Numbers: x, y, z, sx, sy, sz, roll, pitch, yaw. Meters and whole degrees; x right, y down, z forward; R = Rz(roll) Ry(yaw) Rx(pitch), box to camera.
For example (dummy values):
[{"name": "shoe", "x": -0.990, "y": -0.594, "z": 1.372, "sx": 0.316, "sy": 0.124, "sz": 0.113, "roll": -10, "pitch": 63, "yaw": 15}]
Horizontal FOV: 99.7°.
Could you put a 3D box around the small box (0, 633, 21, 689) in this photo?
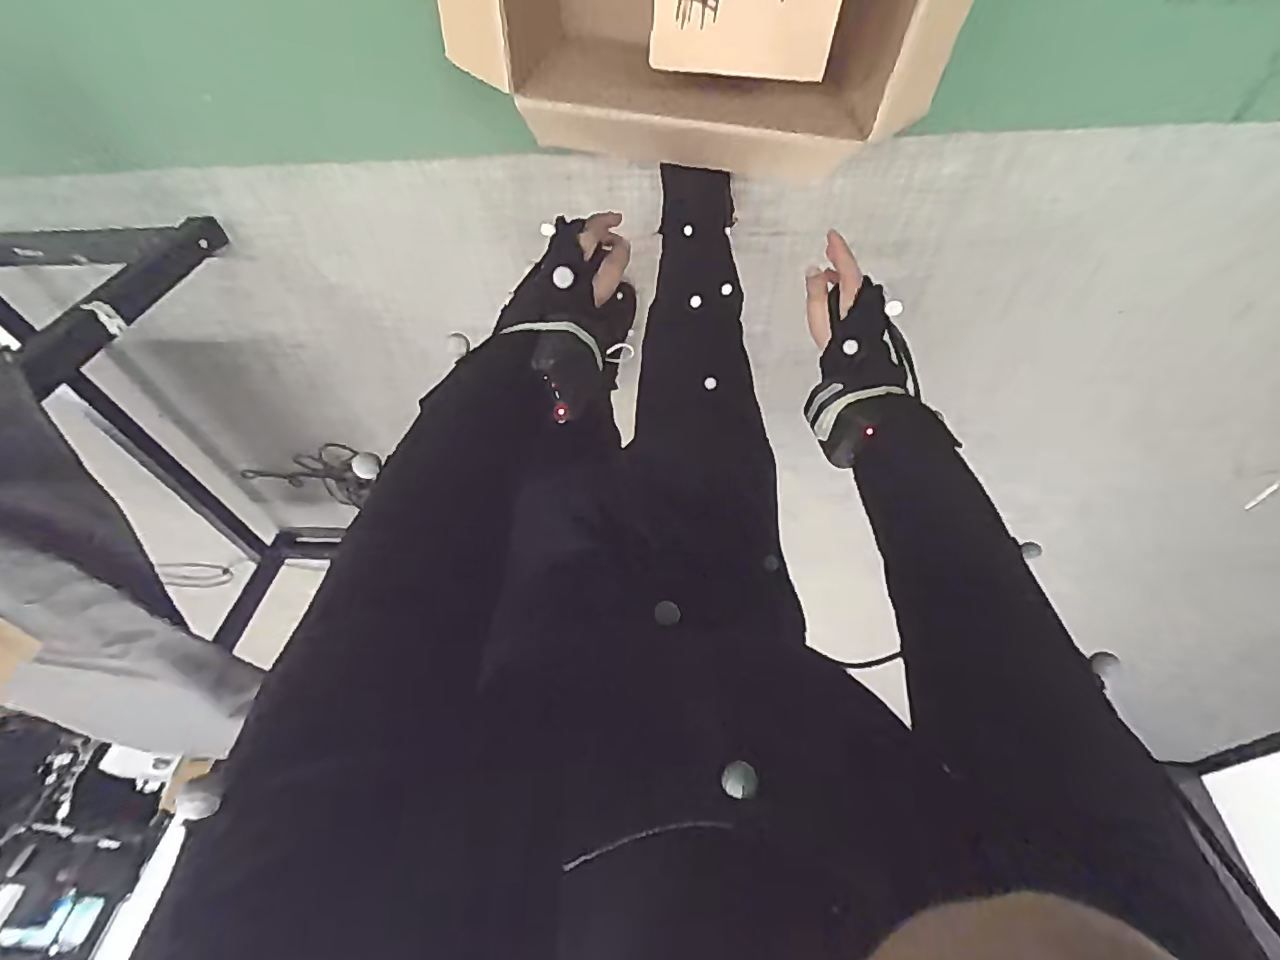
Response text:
[{"name": "small box", "x": -1.045, "y": 0.271, "z": 0.751, "sx": 0.179, "sy": 0.176, "sz": 0.168, "roll": 14, "pitch": 138, "yaw": -7}]
